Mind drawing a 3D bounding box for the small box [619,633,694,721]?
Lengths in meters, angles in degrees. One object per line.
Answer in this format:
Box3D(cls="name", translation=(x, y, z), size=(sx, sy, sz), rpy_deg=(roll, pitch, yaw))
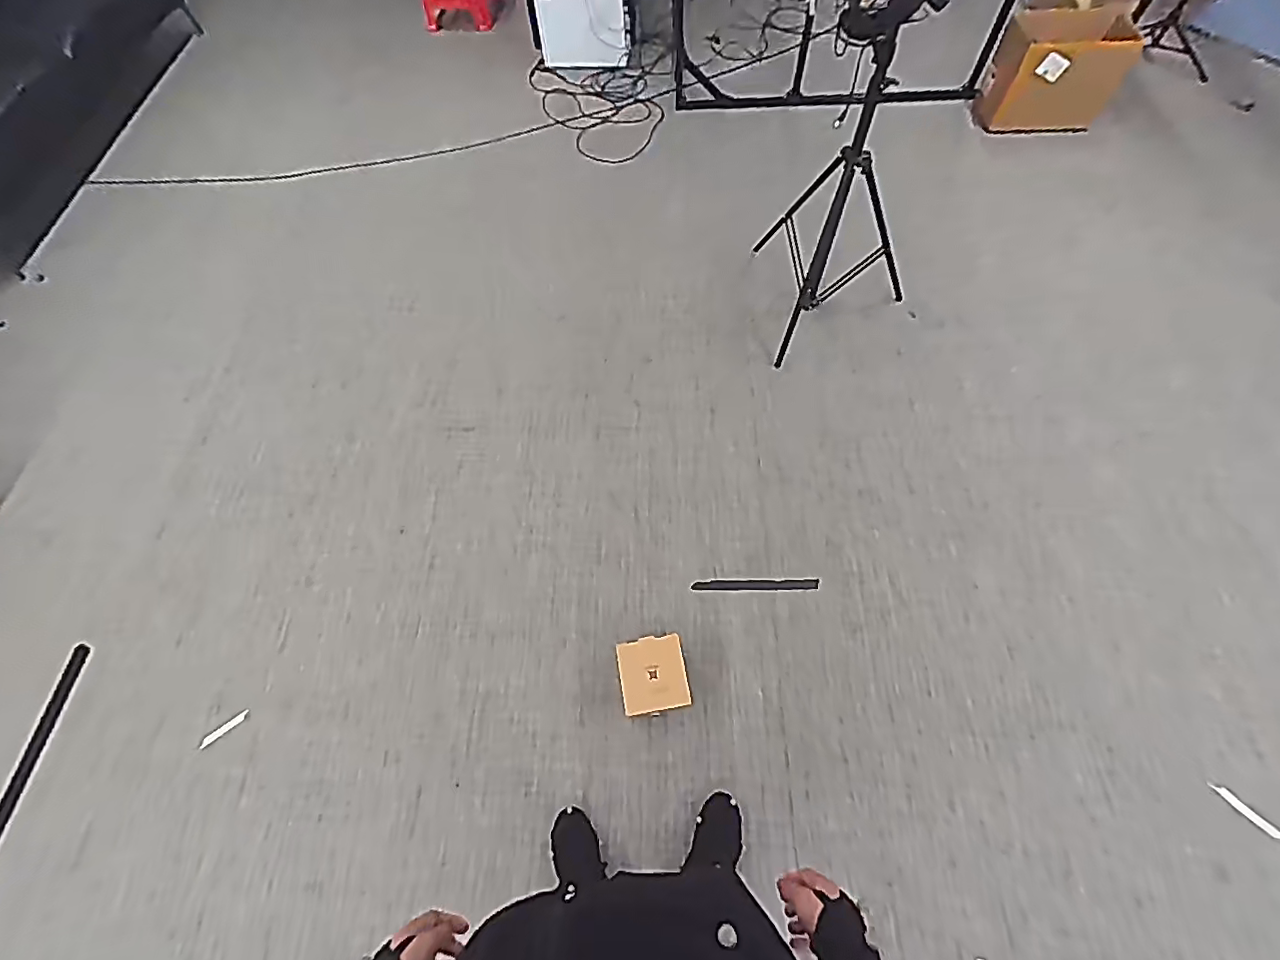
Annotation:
Box3D(cls="small box", translation=(0.042, 0.516, 1.408), size=(0.168, 0.176, 0.179), rpy_deg=(-10, 63, -1))
